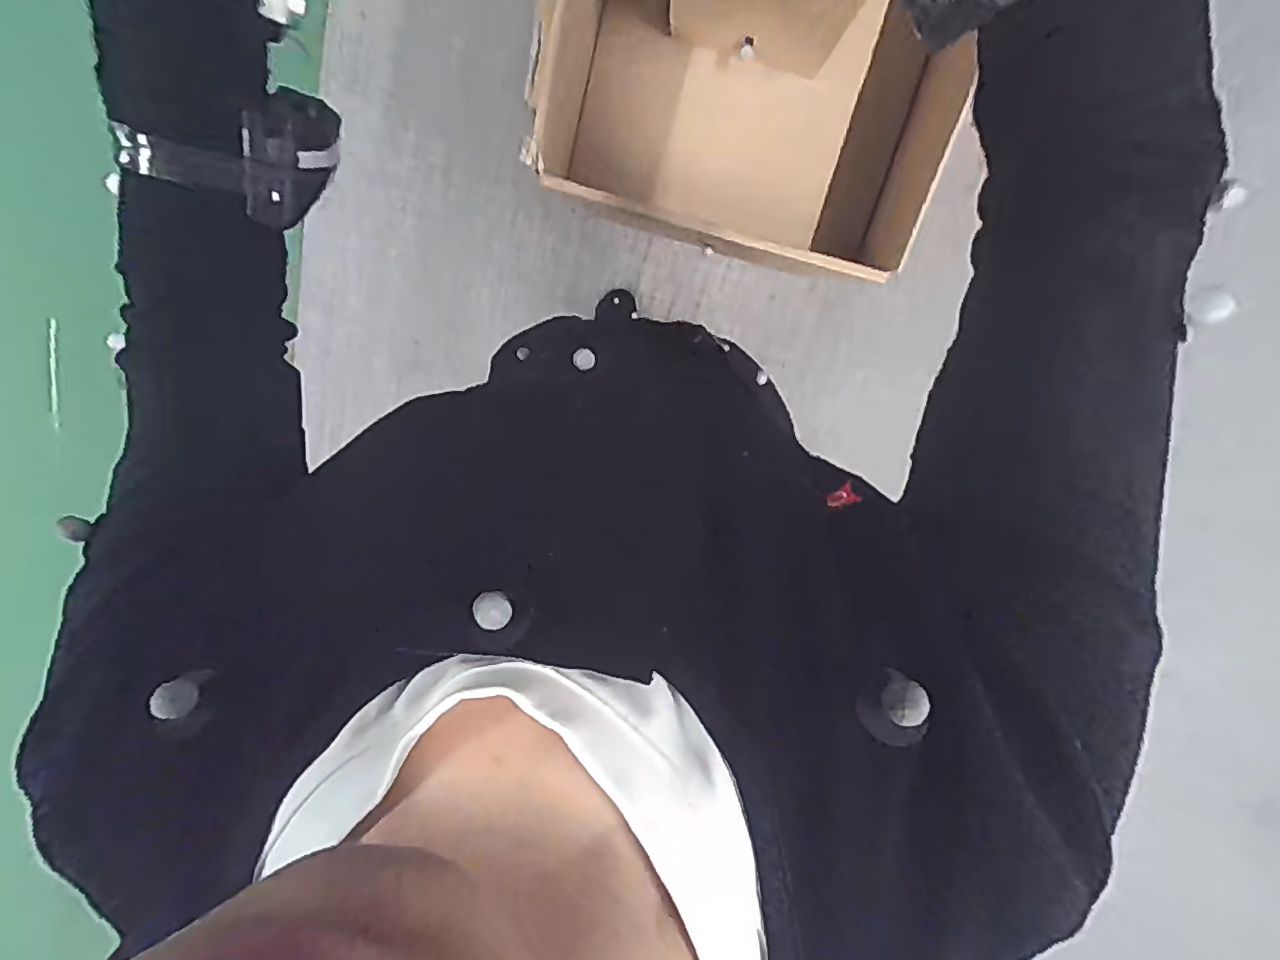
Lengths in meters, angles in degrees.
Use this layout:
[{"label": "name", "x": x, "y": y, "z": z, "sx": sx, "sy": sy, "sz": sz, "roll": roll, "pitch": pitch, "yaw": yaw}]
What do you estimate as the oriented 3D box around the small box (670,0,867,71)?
[{"label": "small box", "x": 0.134, "y": -0.529, "z": 0.511, "sx": 0.179, "sy": 0.176, "sz": 0.168, "roll": 15, "pitch": 106, "yaw": -3}]
